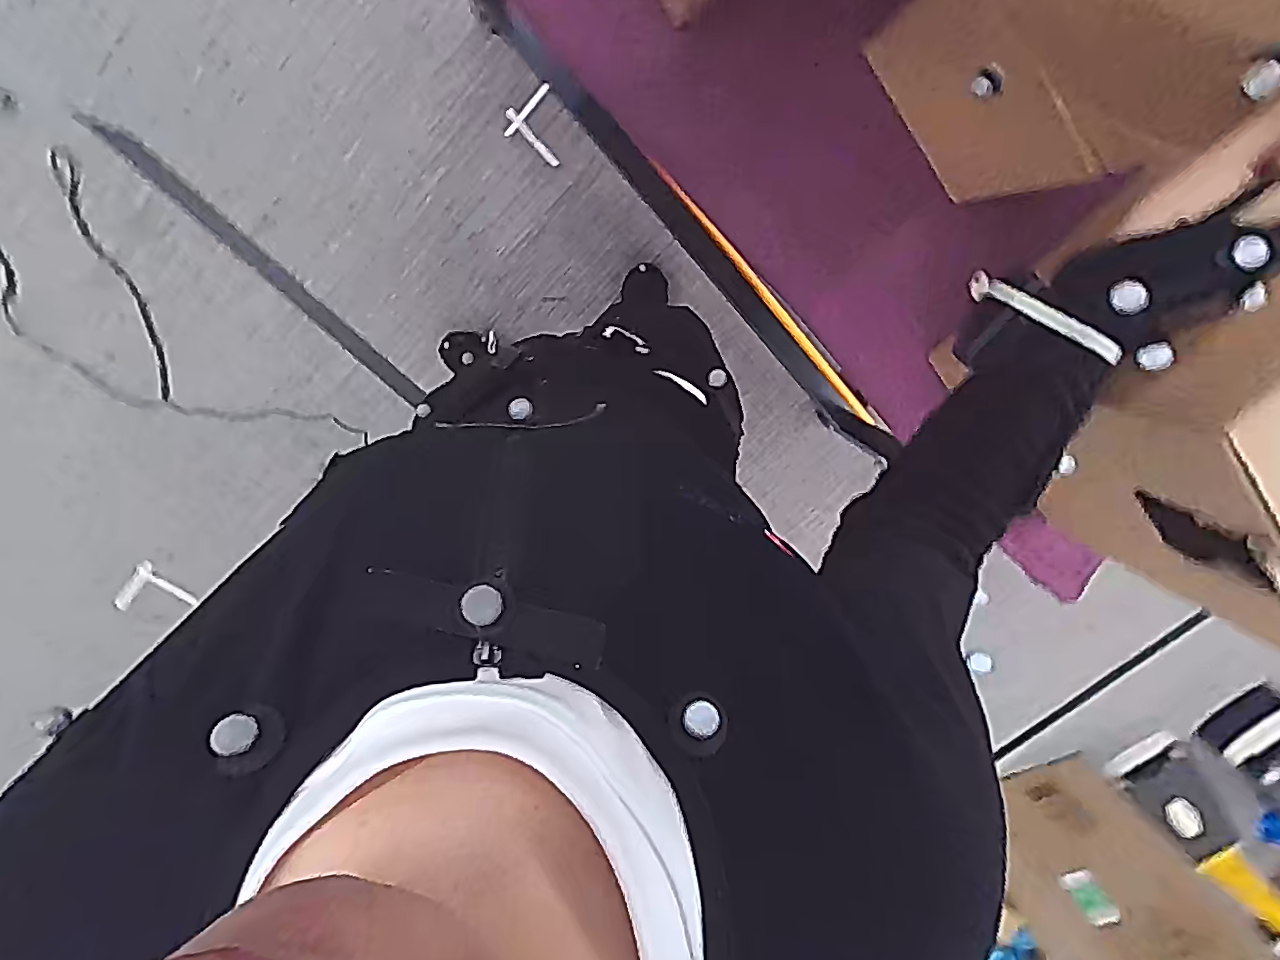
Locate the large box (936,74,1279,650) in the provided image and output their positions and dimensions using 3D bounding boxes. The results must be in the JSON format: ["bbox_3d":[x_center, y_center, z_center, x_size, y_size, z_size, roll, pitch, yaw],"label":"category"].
[{"bbox_3d":[0.580,-0.113,0.476,0.408,0.320,0.320,-43,109,10],"label":"large box"}]
